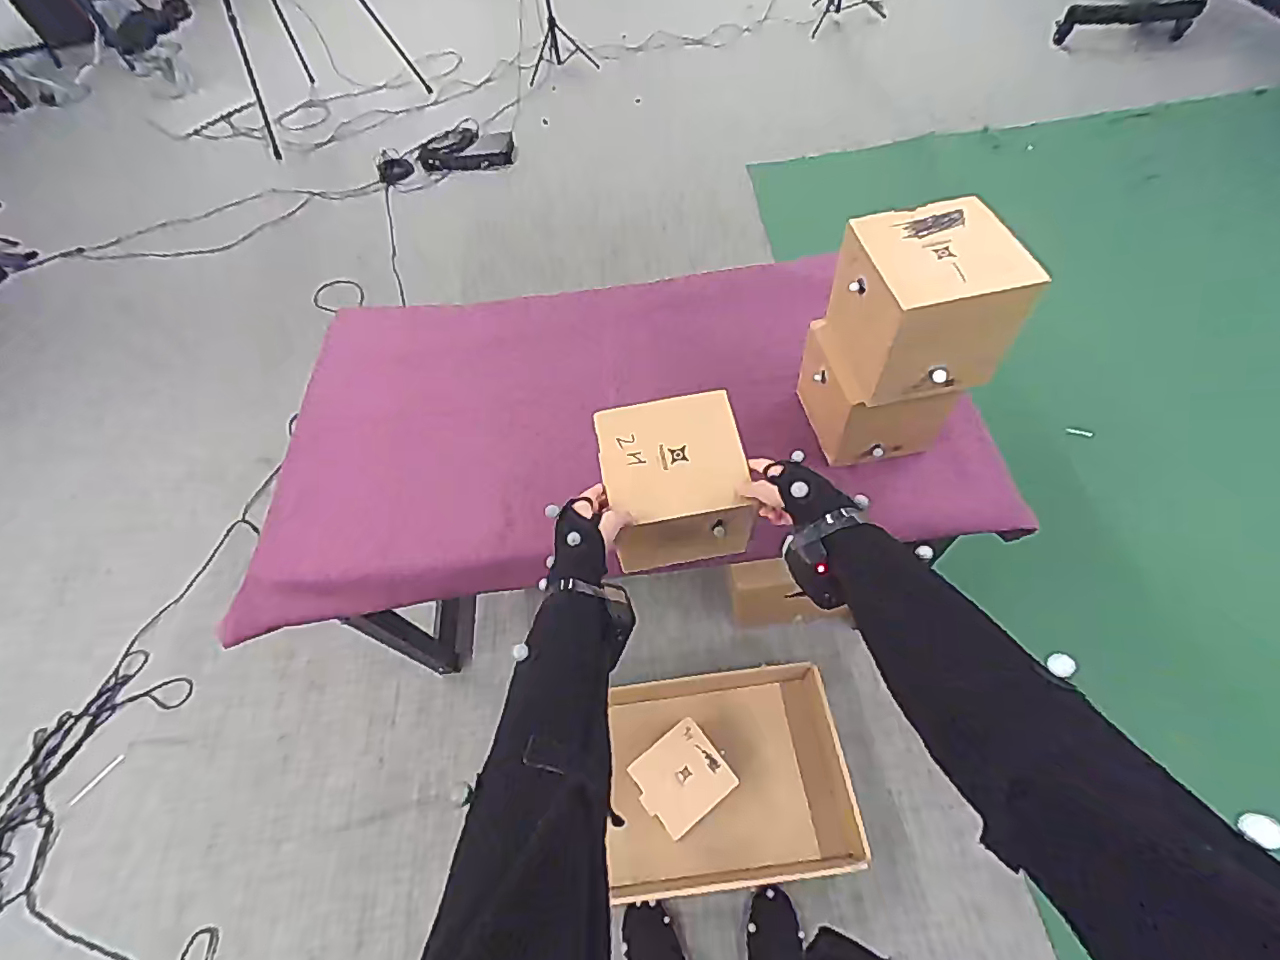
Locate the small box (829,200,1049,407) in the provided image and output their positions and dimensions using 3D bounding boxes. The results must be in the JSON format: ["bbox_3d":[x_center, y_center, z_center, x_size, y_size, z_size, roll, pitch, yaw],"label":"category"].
[{"bbox_3d":[0.360,-0.222,0.696,0.168,0.176,0.179,-11,56,2],"label":"small box"}]

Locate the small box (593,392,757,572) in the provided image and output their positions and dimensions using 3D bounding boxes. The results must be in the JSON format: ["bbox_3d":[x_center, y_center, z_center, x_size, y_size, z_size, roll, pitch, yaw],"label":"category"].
[{"bbox_3d":[0.042,0.010,0.719,0.179,0.176,0.168,-11,63,0],"label":"small box"}]

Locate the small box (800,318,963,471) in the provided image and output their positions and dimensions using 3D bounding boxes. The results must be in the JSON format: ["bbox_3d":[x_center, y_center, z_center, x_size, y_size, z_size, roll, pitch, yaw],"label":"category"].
[{"bbox_3d":[0.360,-0.140,0.840,0.168,0.176,0.179,-11,57,1],"label":"small box"}]

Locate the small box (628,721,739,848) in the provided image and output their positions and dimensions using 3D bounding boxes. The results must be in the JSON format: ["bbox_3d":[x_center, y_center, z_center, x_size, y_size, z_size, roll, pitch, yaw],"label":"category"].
[{"bbox_3d":[0.098,0.660,1.173,0.179,0.176,0.168,-35,60,-14],"label":"small box"}]
